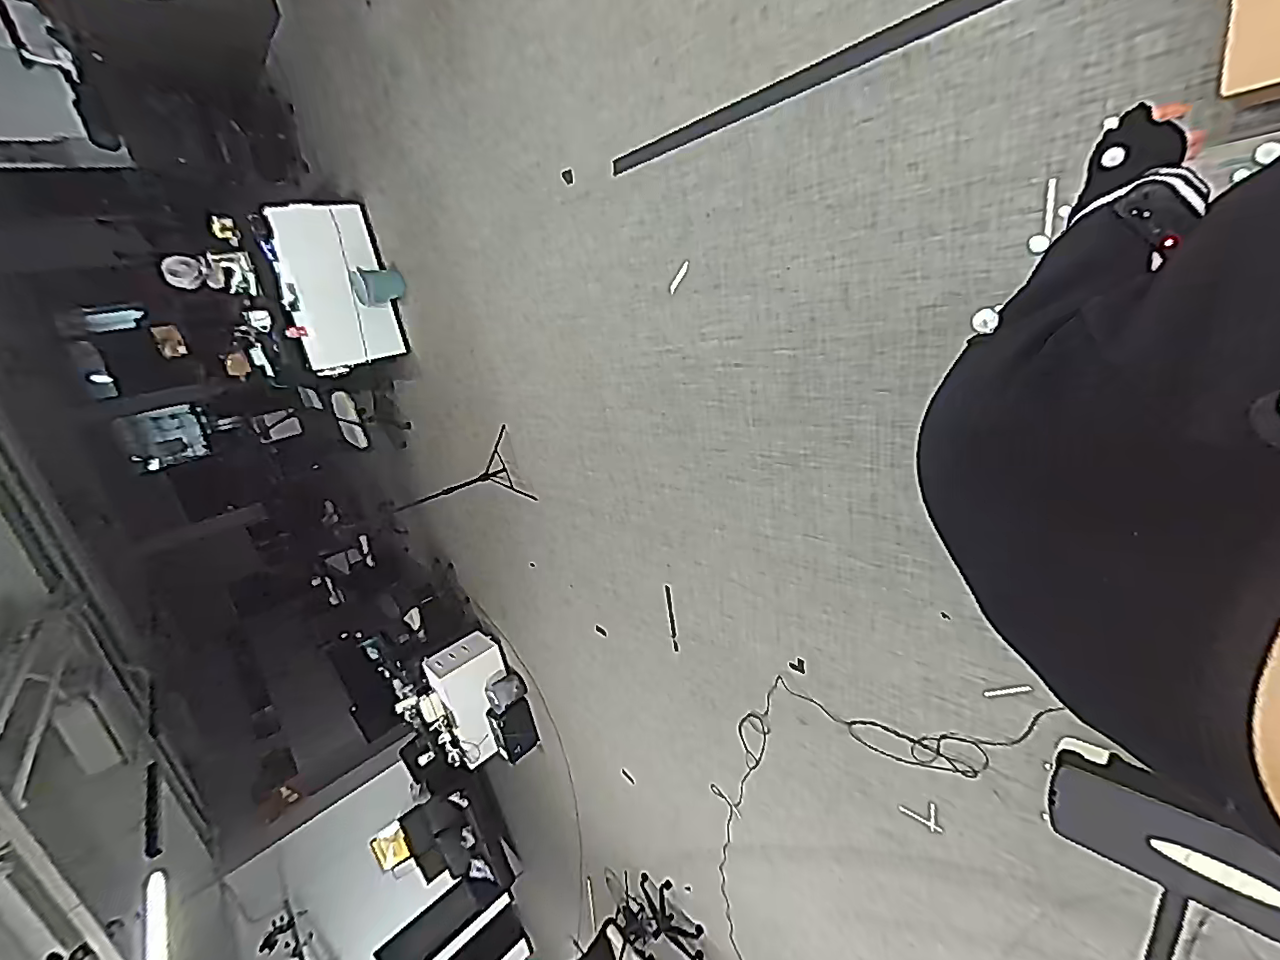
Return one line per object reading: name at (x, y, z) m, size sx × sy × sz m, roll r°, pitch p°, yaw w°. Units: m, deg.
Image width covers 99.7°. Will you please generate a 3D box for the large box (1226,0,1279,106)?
large box at (1.009, -0.705, 0.642) m, size 0.408 × 0.320 × 0.320 m, roll 9°, pitch 118°, yaw 46°
